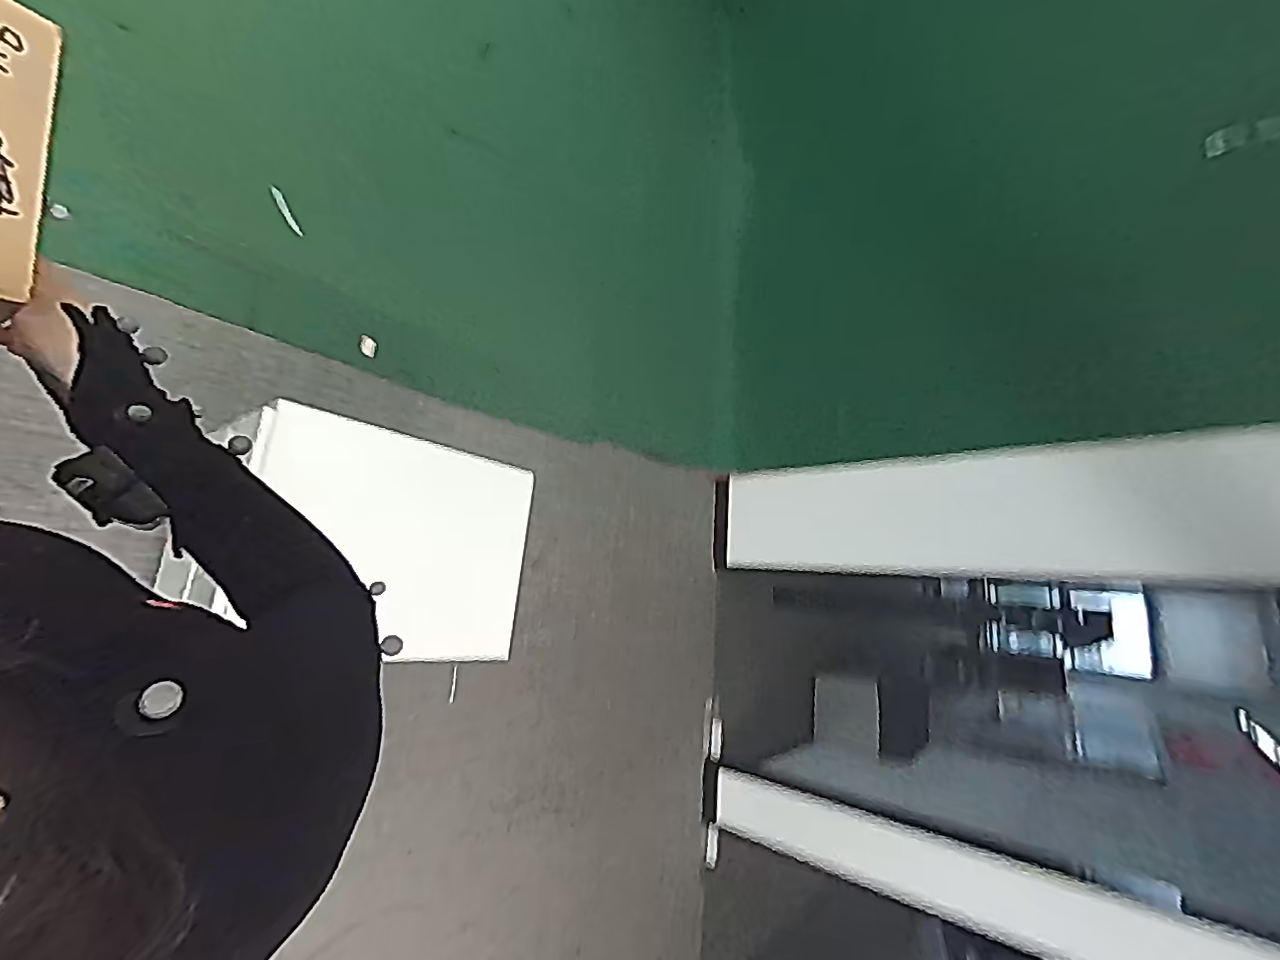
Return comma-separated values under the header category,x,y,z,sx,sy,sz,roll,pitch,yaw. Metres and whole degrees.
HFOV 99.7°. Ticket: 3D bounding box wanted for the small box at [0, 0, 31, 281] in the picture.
category,x,y,z,sx,sy,sz,roll,pitch,yaw
small box,-0.466,-0.195,0.282,0.179,0.176,0.168,5,90,-54
